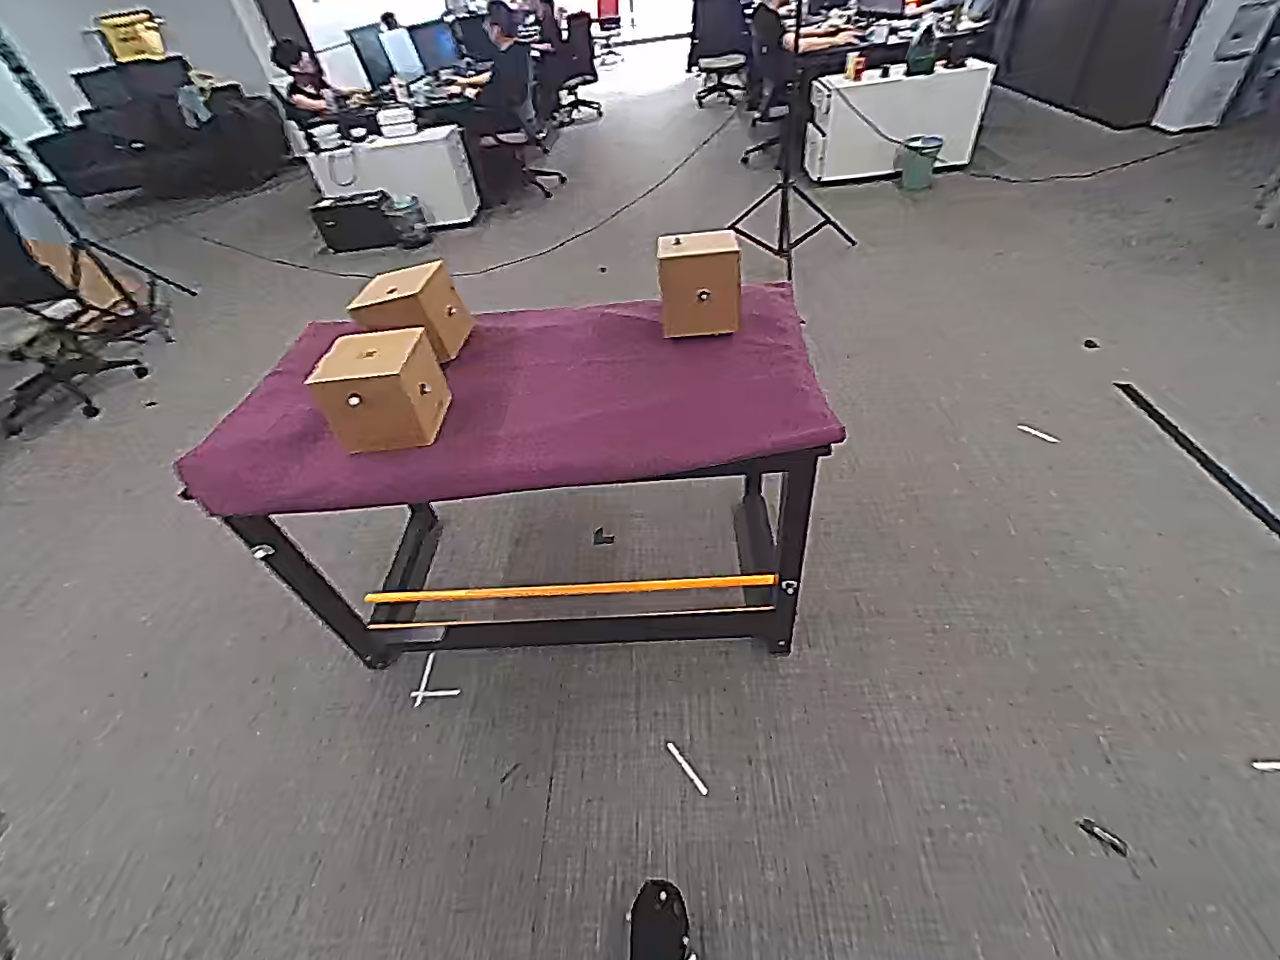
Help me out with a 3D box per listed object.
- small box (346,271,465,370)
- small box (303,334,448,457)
[{"bbox_3d":[-0.521,-0.359,1.241,0.179,0.168,0.176,-7,42,12],"label":"small box"},{"bbox_3d":[-0.497,-0.161,1.051,0.179,0.176,0.168,-5,43,4],"label":"small box"}]
